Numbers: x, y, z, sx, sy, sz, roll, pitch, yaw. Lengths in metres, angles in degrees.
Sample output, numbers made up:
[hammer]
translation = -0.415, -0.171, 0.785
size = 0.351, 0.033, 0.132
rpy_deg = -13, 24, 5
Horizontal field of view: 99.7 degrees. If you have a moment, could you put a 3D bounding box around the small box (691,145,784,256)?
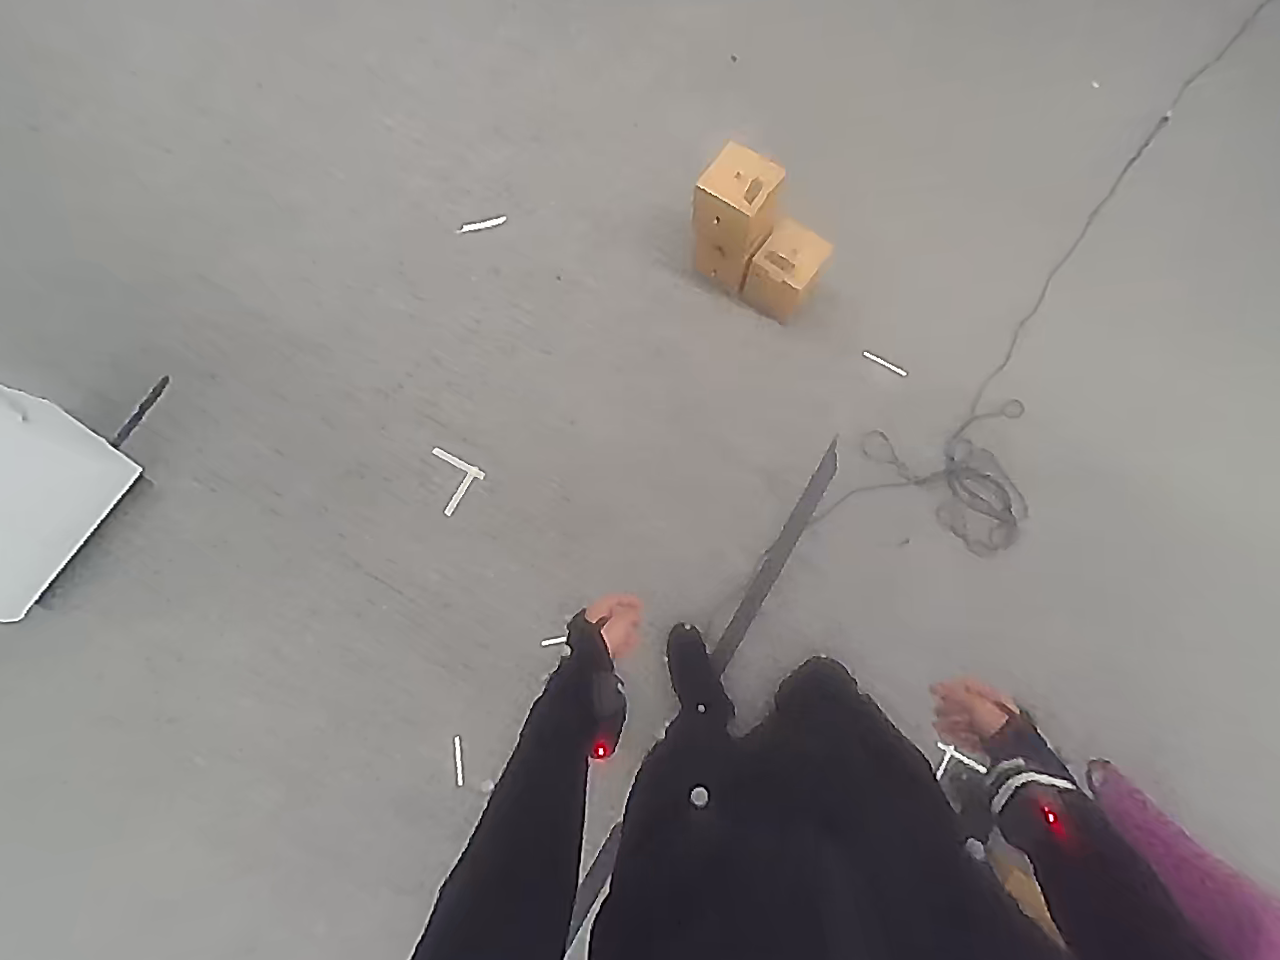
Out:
[small box]
translation = 0.252, -0.732, 1.440
size = 0.179, 0.176, 0.168
rpy_deg = 35, 80, 10
